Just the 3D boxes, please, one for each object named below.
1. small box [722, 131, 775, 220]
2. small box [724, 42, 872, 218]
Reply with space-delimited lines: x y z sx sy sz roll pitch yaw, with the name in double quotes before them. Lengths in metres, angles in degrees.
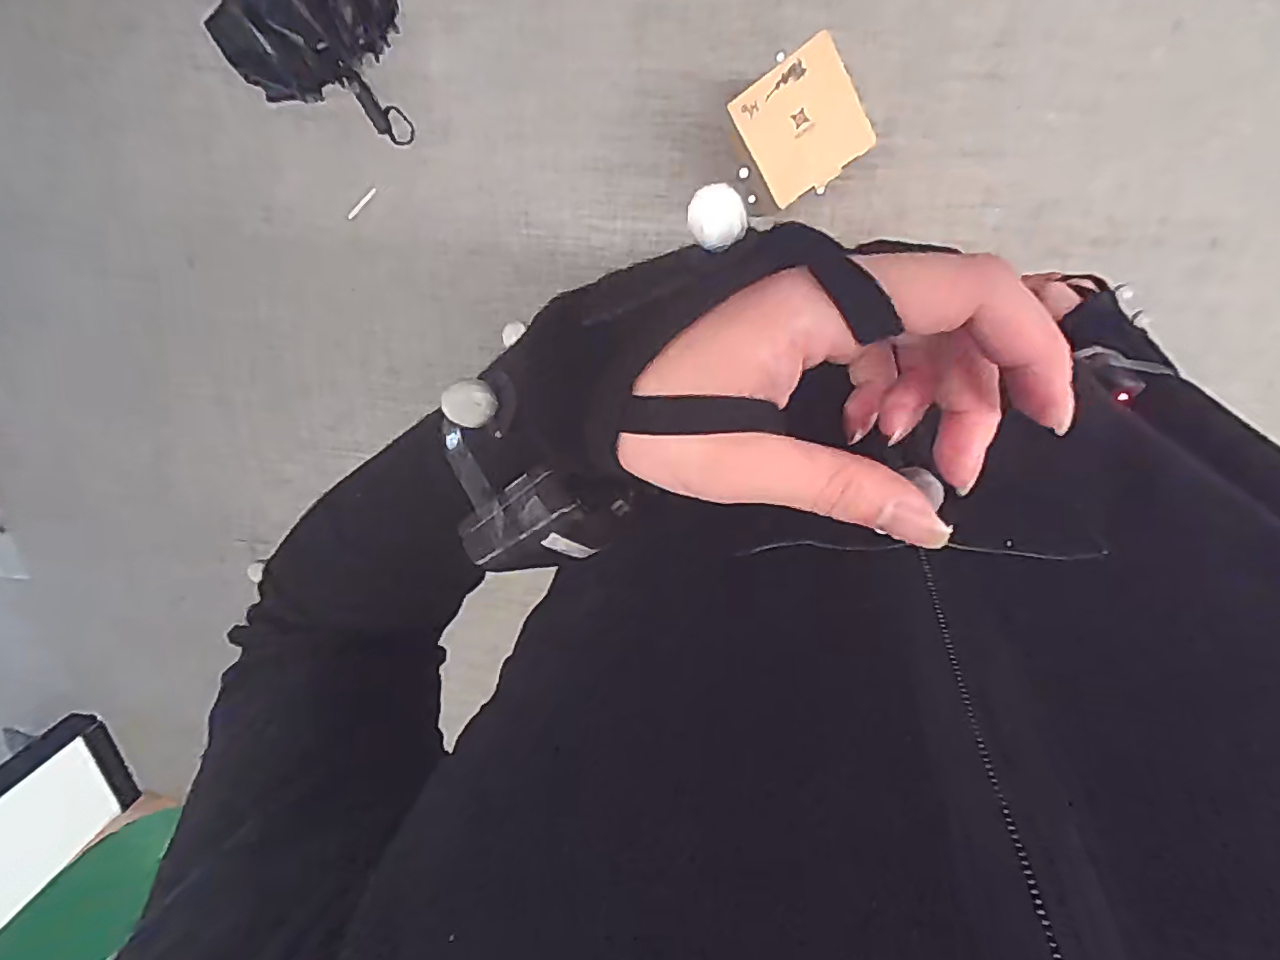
"small box" 0.273 -0.630 1.049 0.168 0.176 0.179 -30 105 18
"small box" 0.254 -0.564 0.899 0.168 0.176 0.179 -30 108 18
